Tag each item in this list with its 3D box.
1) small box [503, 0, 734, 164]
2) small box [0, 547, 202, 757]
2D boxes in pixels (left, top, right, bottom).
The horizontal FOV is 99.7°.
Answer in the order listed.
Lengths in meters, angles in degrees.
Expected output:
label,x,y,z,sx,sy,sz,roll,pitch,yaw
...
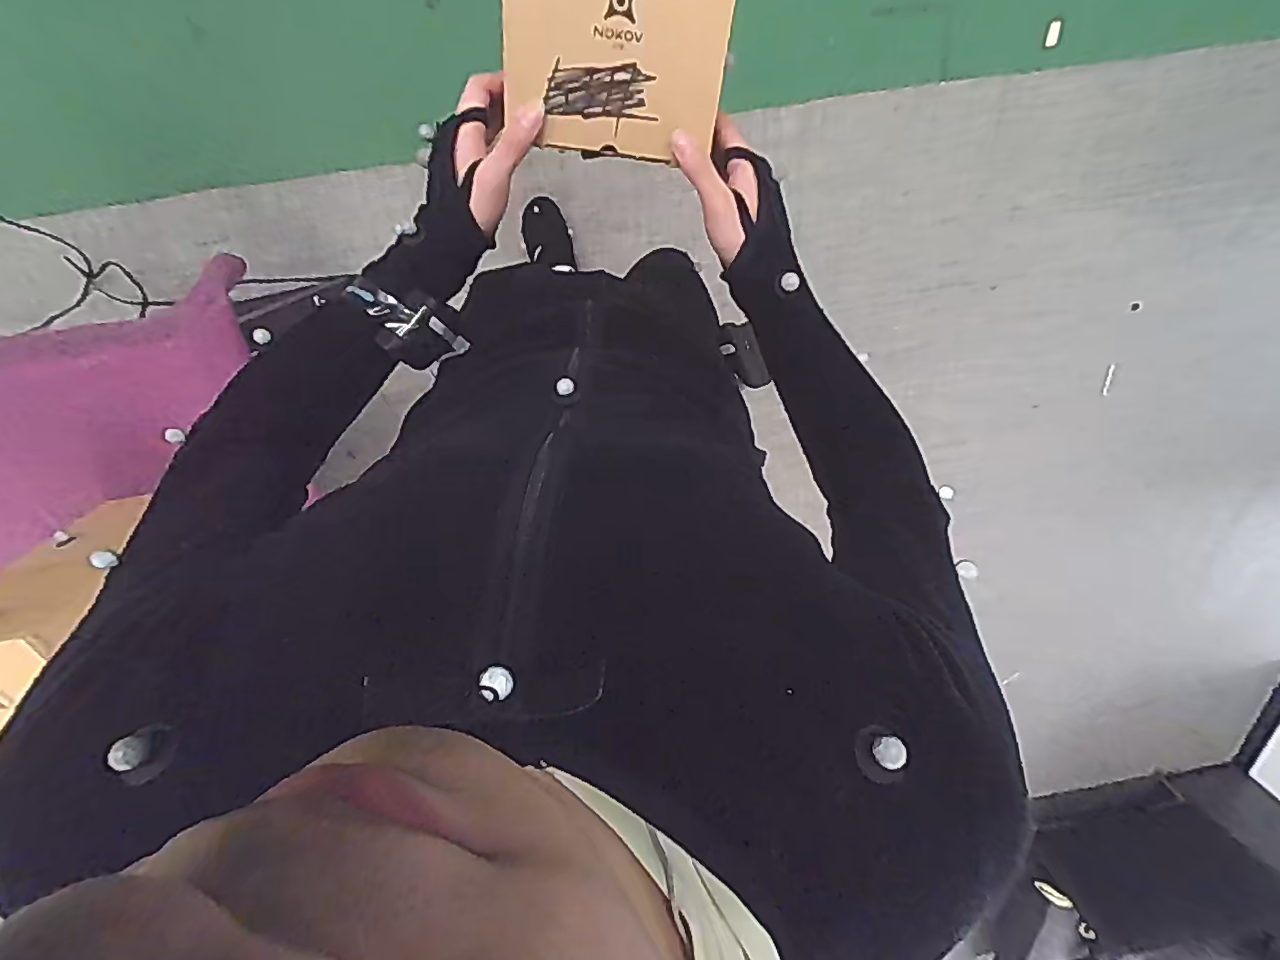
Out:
label,x,y,z,sx,sy,sz,roll,pitch,yaw
small box,-0.016,-0.381,0.448,0.168,0.176,0.179,5,126,-5
small box,-0.710,0.205,0.666,0.179,0.176,0.168,-11,119,-1
